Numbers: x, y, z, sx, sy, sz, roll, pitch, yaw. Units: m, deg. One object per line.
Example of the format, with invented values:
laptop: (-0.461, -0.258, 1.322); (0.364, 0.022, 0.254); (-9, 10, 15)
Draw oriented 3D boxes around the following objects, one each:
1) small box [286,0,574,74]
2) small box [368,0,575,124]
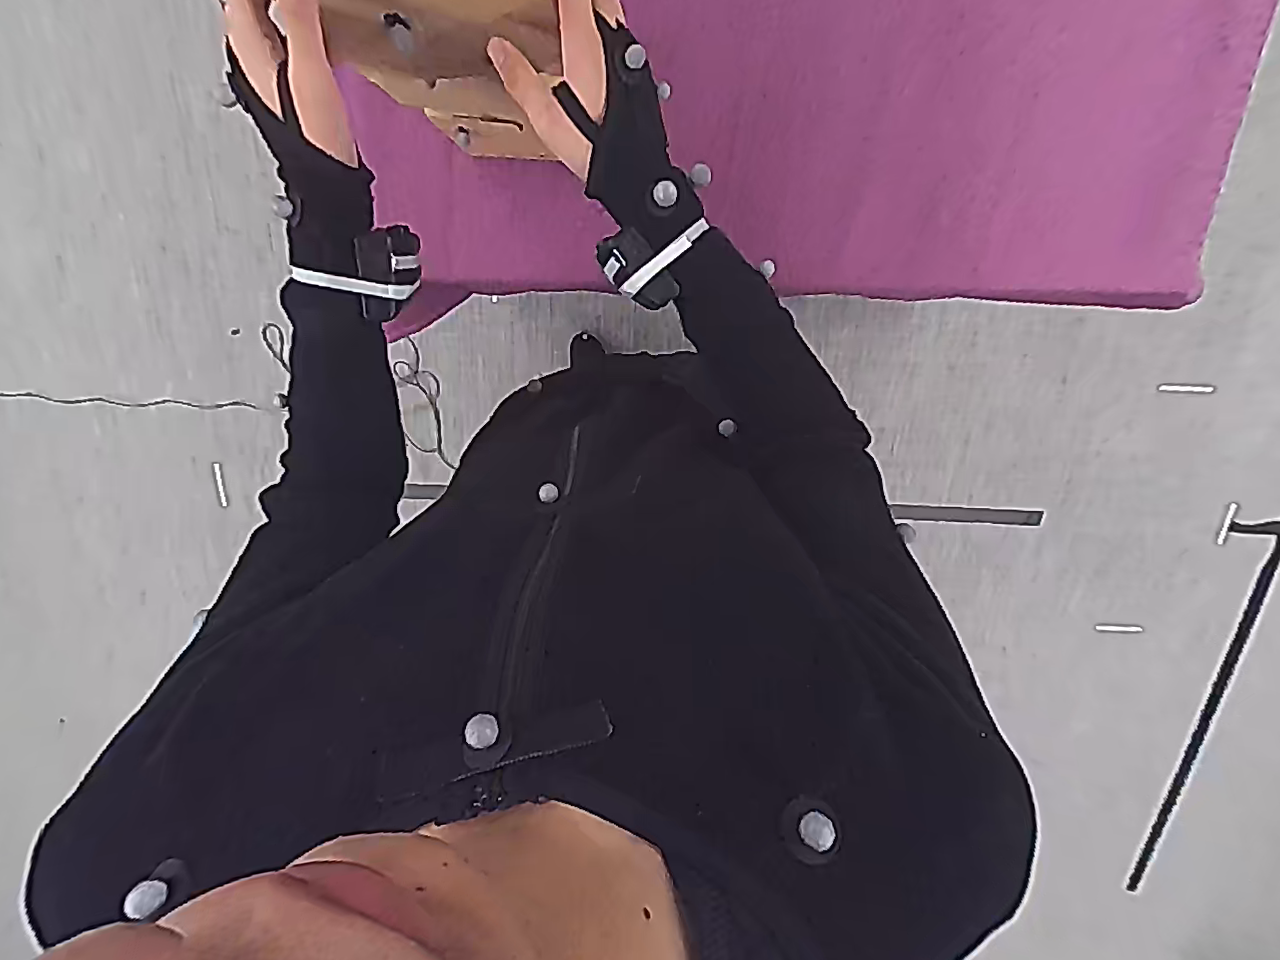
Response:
small box: (-0.136, -0.381, 0.333); (0.168, 0.176, 0.179); (-3, 107, 1)
small box: (-0.159, -0.446, 0.483); (0.179, 0.176, 0.168); (8, 108, -3)
